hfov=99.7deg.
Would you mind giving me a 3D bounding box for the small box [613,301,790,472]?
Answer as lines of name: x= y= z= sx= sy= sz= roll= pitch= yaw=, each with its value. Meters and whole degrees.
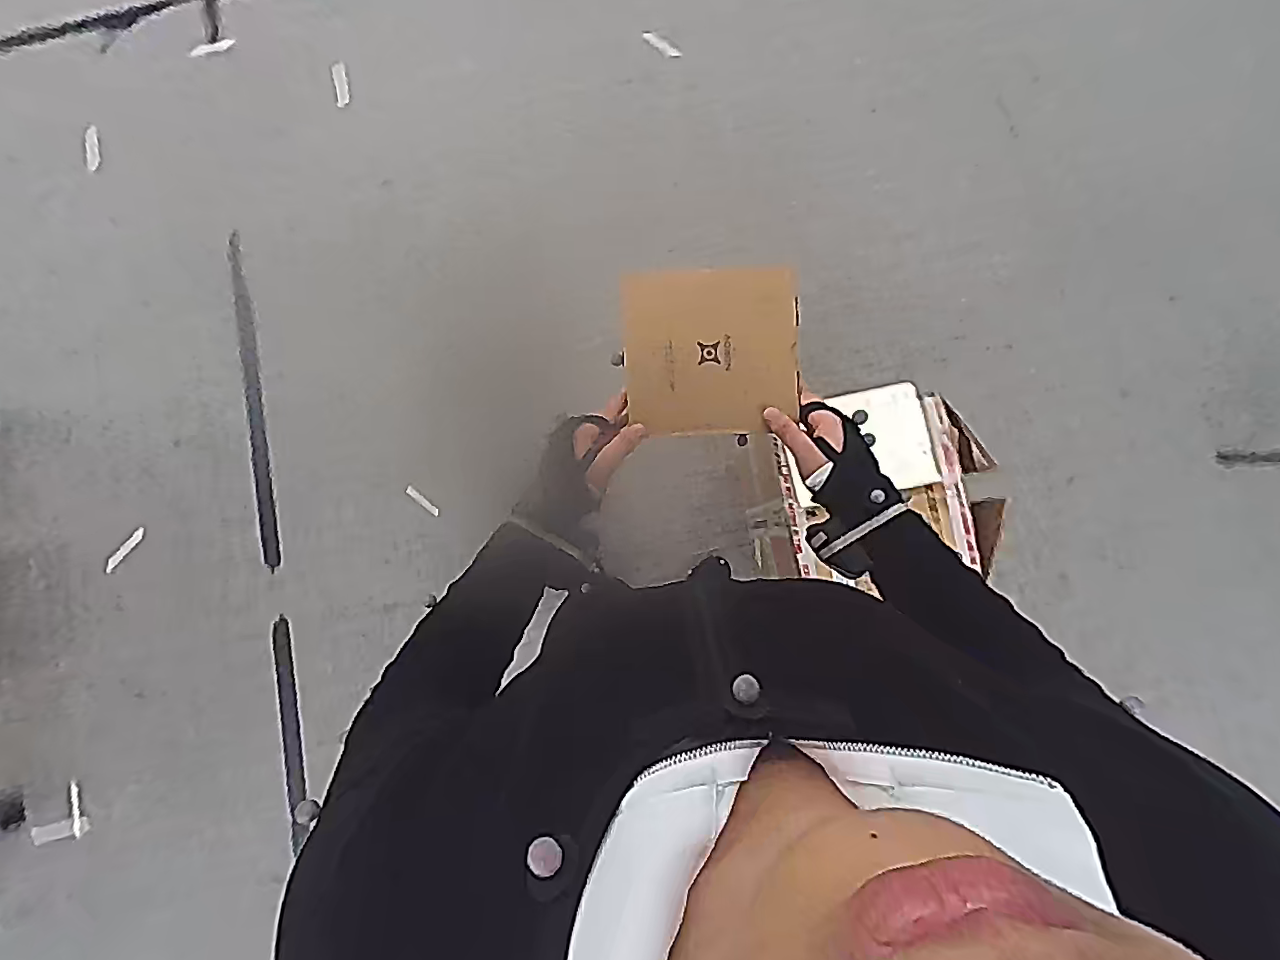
small box: x=0.061 y=-0.102 z=0.628 sx=0.179 sy=0.176 sz=0.168 roll=-5 pitch=95 yaw=-1
